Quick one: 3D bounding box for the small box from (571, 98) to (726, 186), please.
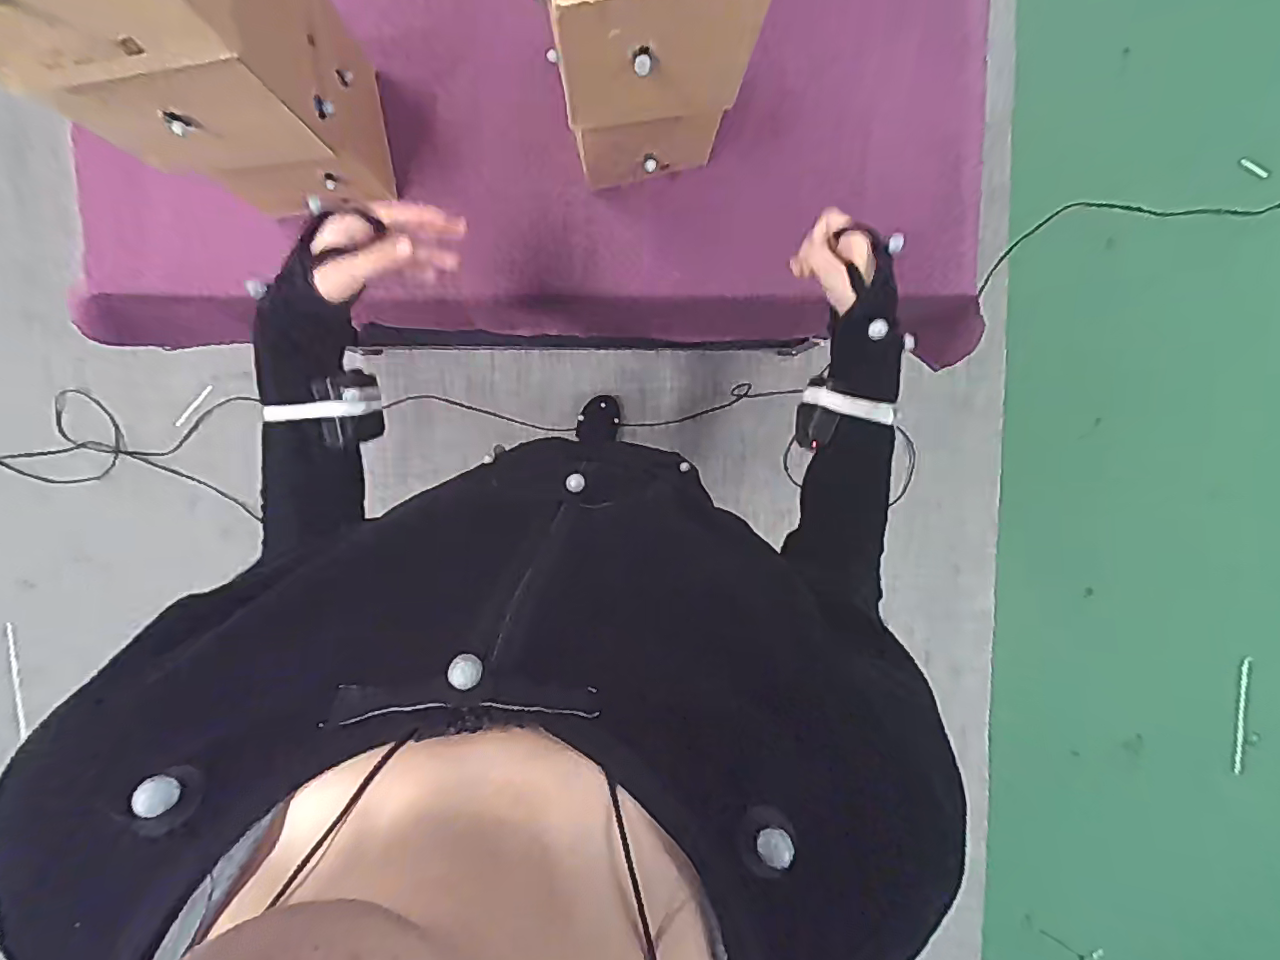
[{"bbox_3d":[-0.006,-0.486,0.638,0.168,0.176,0.179,-13,96,-1],"label":"small box"}]

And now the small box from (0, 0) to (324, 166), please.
[{"bbox_3d":[-0.404,-0.400,0.468,0.179,0.176,0.168,-7,96,-2],"label":"small box"}]

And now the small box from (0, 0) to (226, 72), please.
[{"bbox_3d":[-0.387,-0.374,0.308,0.168,0.176,0.179,-11,95,-2],"label":"small box"}]

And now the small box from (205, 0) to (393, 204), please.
[{"bbox_3d":[-0.409,-0.441,0.629,0.168,0.176,0.179,-7,95,-2],"label":"small box"}]

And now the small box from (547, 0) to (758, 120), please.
[{"bbox_3d":[0.004,-0.451,0.477,0.179,0.176,0.168,-8,96,-1],"label":"small box"}]
